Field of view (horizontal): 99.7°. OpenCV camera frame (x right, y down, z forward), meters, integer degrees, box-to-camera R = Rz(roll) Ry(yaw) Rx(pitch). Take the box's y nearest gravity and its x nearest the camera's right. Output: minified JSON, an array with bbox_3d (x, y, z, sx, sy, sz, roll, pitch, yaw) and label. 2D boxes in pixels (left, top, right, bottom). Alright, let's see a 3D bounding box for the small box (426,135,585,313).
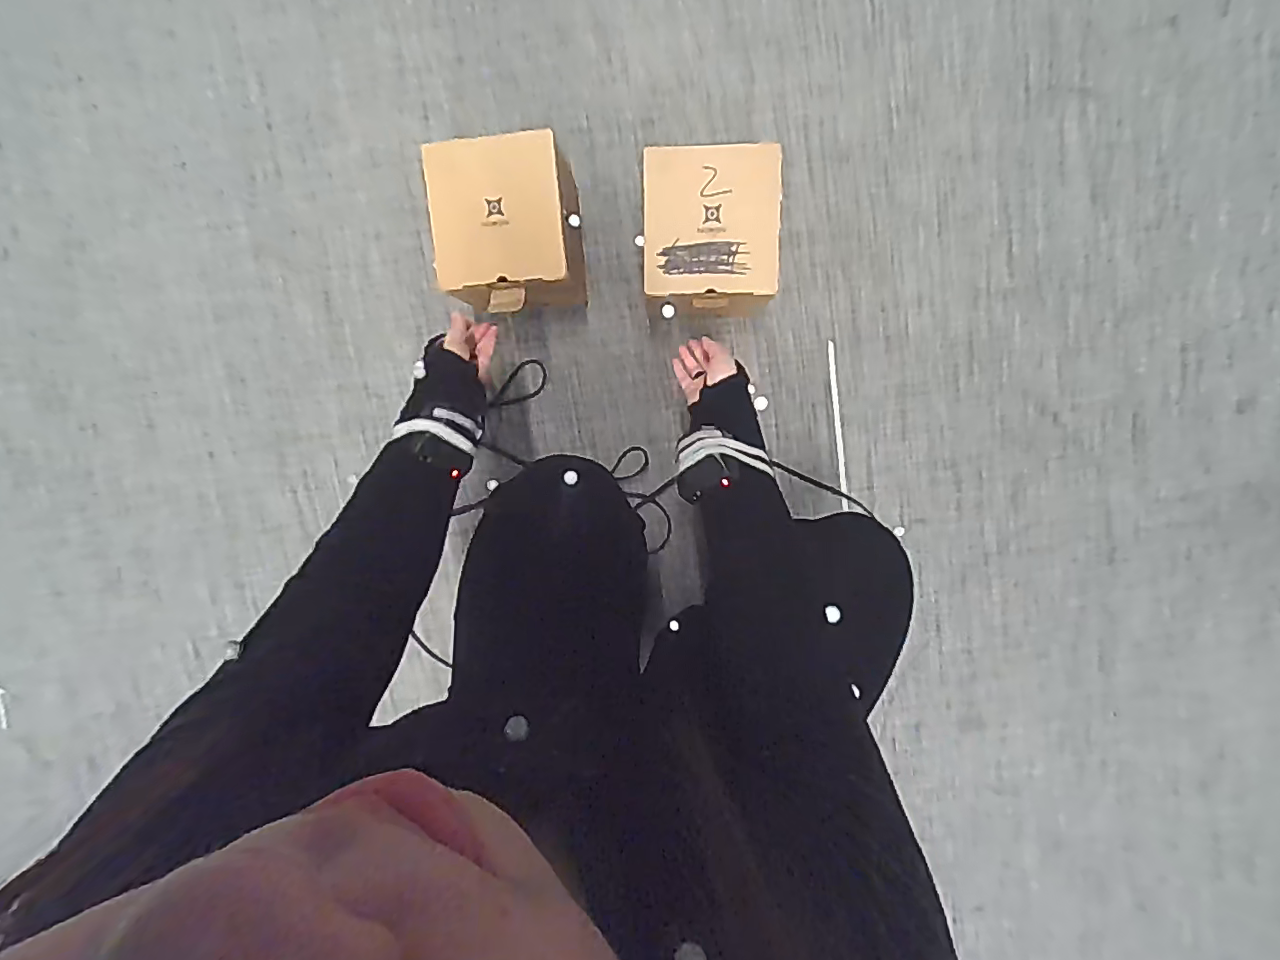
[{"bbox_3d":[-0.174,-0.341,0.752,0.168,0.176,0.179,-4,98,4],"label":"small box"}]
